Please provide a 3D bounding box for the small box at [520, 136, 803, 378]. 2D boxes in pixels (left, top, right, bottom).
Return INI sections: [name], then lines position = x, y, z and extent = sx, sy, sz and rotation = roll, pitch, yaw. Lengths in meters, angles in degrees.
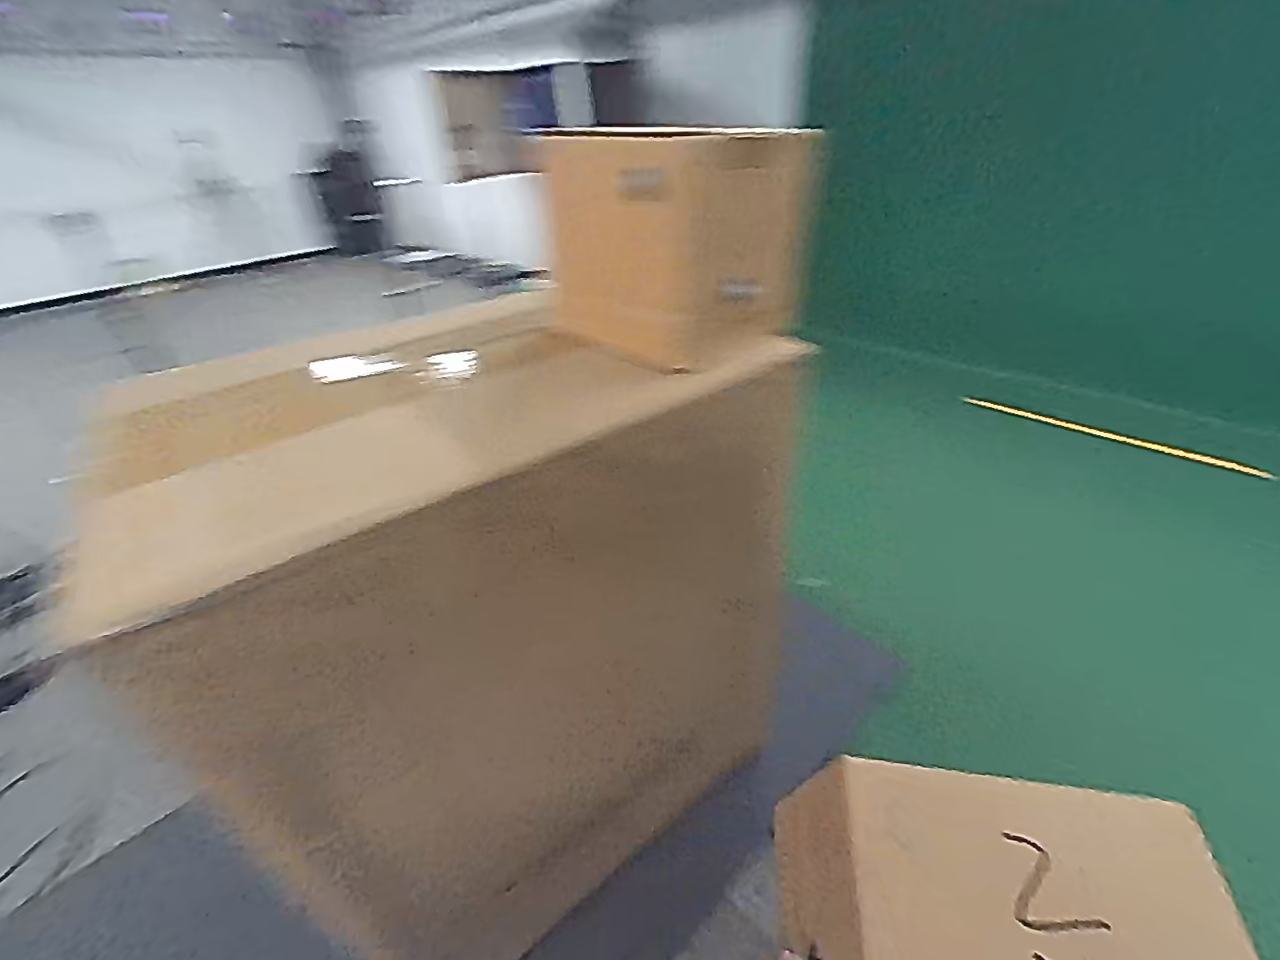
[small box]
position = 0.016, -0.206, 0.485
extent = 0.179, 0.176, 0.168
rotation = 28, 43, 34
